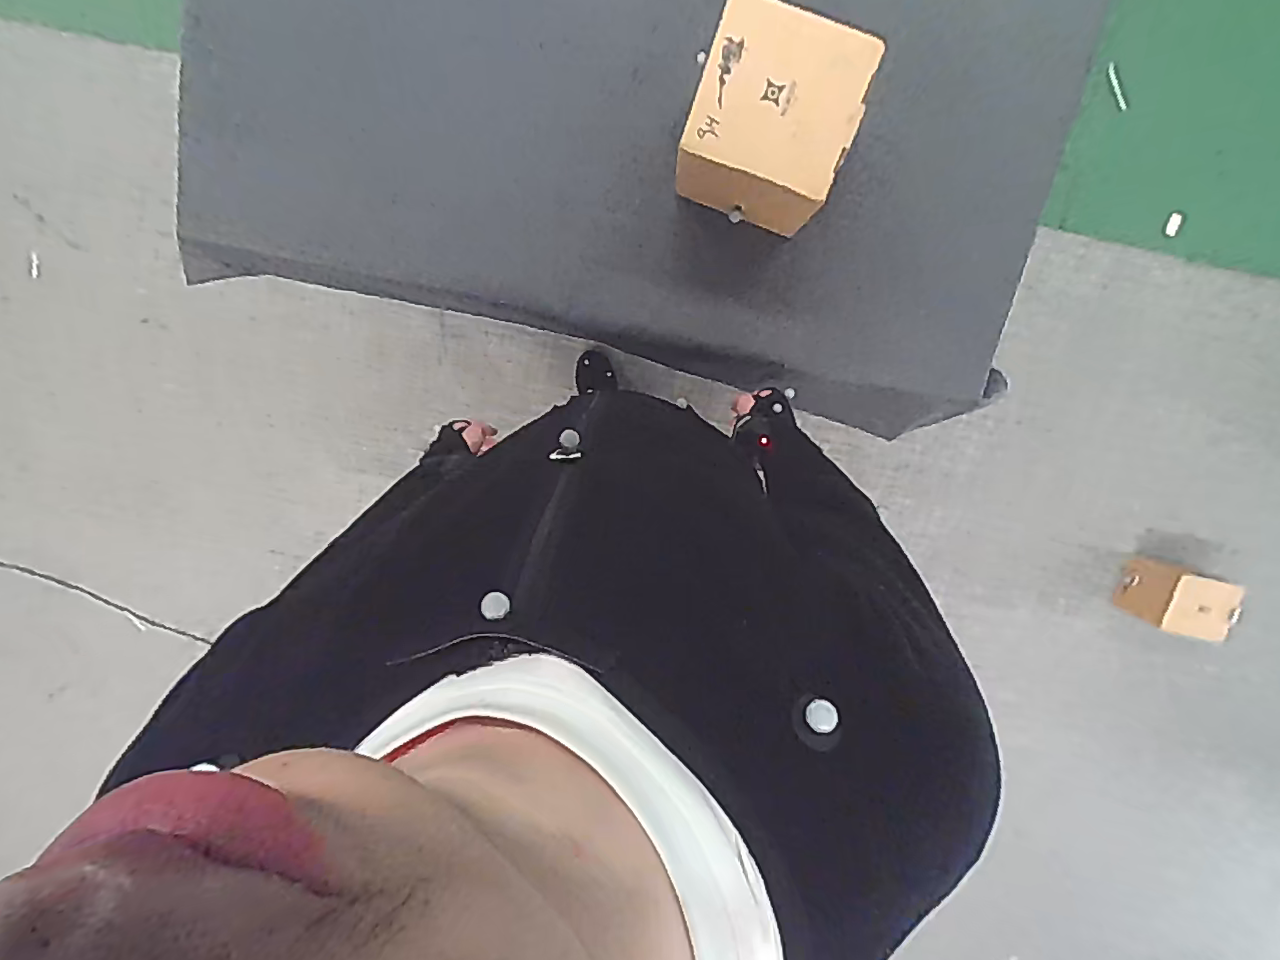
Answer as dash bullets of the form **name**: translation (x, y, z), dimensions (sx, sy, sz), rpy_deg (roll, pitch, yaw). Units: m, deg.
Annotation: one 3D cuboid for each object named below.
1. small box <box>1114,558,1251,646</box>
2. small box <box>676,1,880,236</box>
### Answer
- **small box**: translation (1.486, 0.329, 1.493), dimensions (0.179, 0.176, 0.168), rpy_deg (14, 100, 0)
- **small box**: translation (0.154, -0.423, 0.671), dimensions (0.179, 0.176, 0.168), rpy_deg (20, 102, -2)
